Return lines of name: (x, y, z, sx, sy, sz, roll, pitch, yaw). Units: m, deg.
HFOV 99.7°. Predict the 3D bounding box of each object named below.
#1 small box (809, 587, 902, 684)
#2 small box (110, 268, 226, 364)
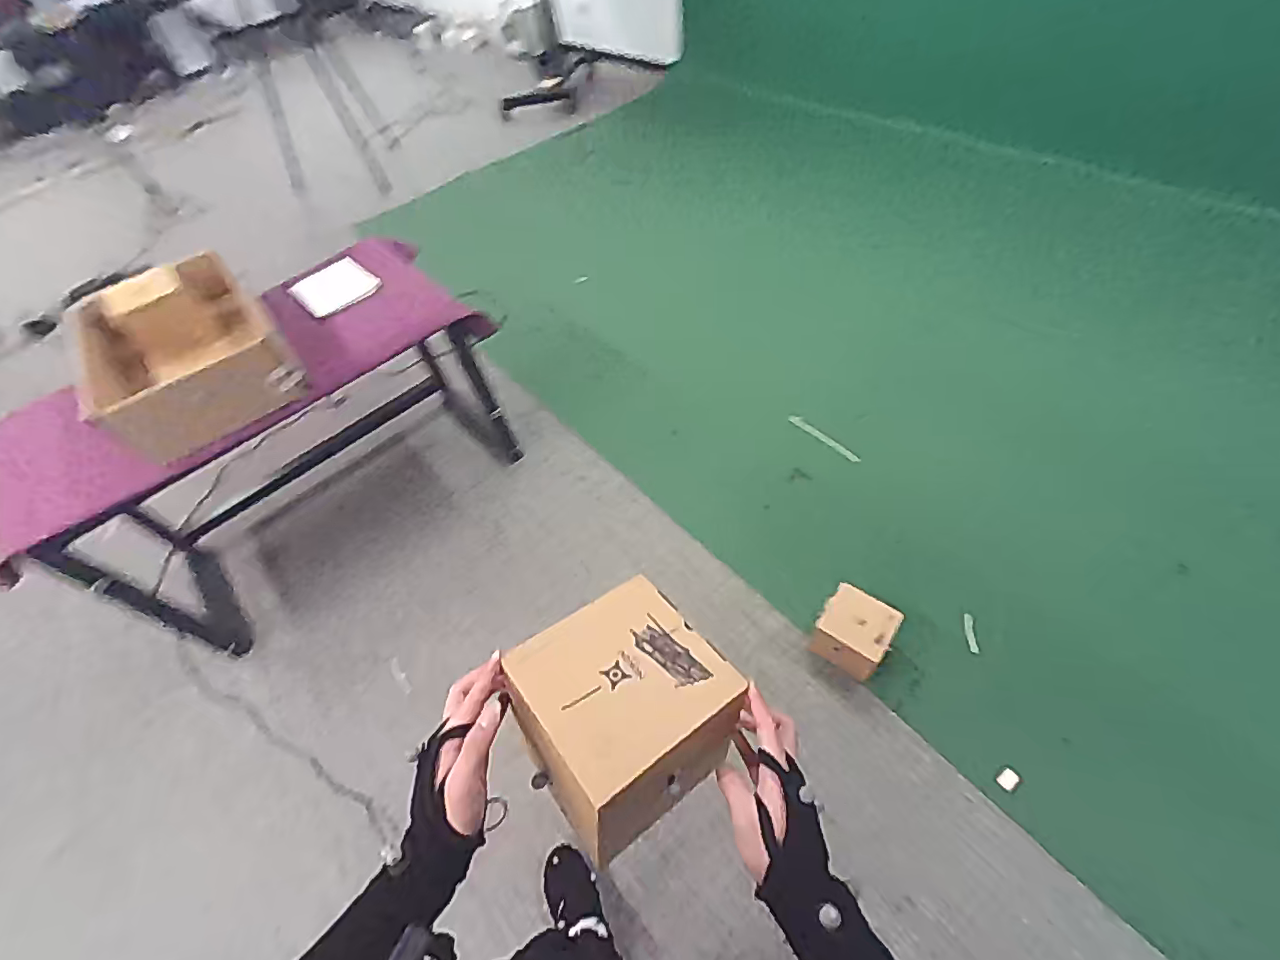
small box: (0.594, 0.439, 1.512, 0.179, 0.176, 0.168, 30, 62, 27)
small box: (-1.307, -0.453, 1.505, 0.168, 0.176, 0.179, -37, 58, -20)
